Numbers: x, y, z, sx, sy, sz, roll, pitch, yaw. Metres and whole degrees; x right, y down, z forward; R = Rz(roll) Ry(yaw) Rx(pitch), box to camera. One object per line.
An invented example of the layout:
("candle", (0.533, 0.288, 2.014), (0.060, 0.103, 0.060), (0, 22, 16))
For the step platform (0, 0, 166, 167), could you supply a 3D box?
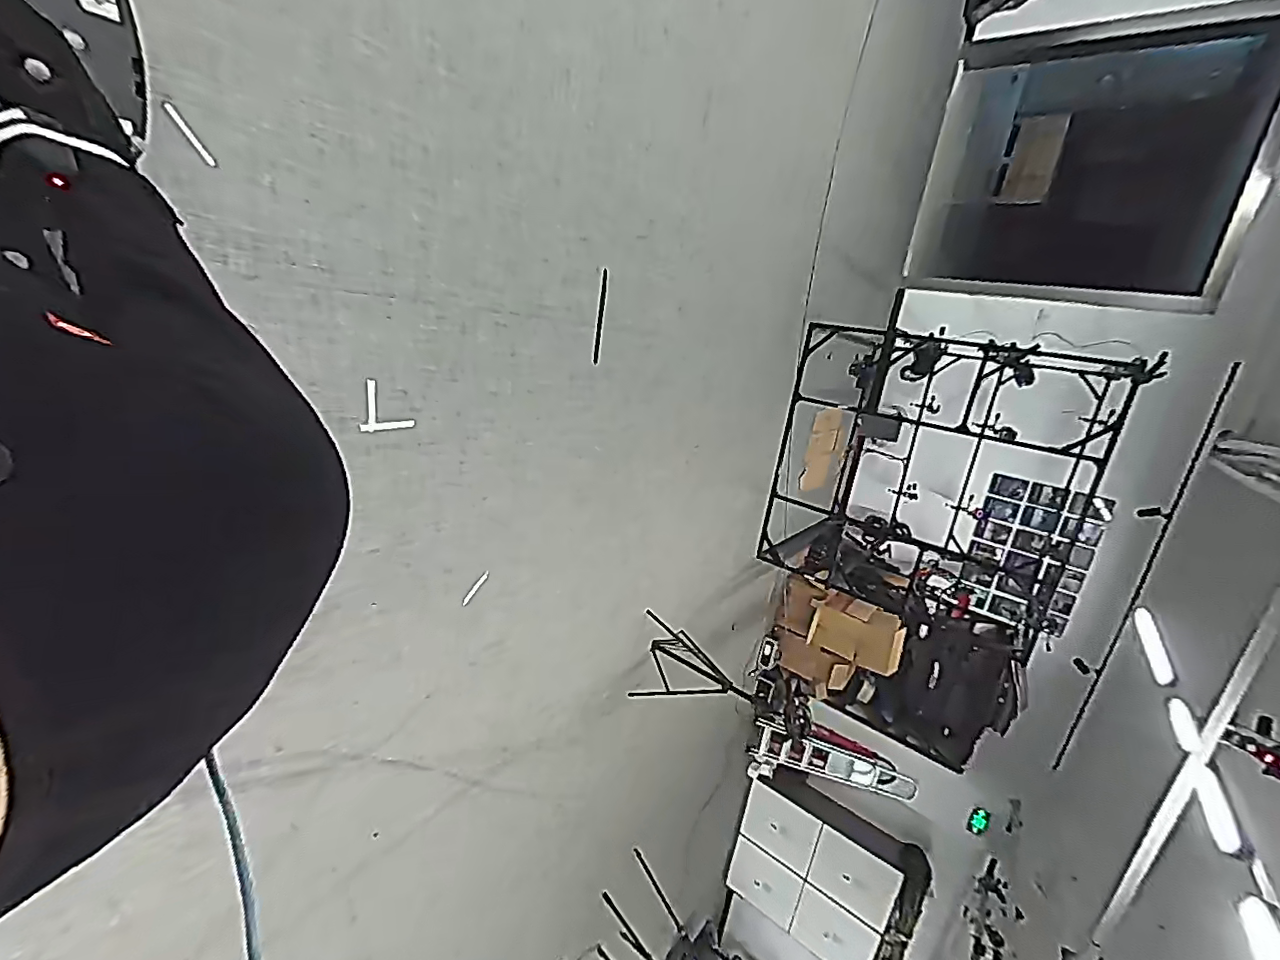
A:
("step platform", (-1.124, -0.692, 0.762), (0.684, 0.204, 0.286), (-15, 119, -53))
